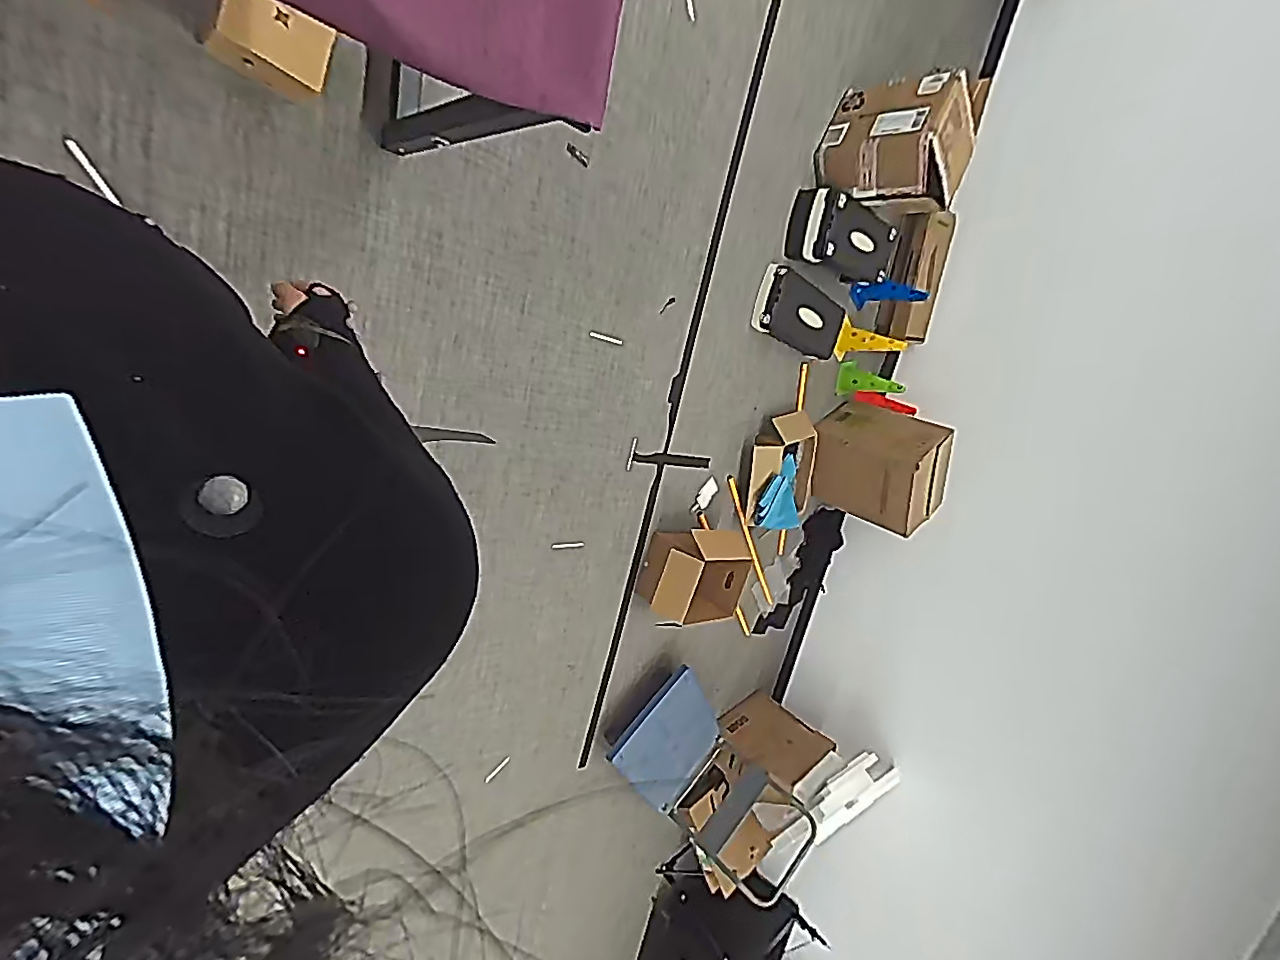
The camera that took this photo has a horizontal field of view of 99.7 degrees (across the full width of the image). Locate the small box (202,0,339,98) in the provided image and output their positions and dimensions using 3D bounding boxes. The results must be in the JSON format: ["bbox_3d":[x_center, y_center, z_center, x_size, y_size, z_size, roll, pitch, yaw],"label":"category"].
[{"bbox_3d":[-0.705,-0.868,1.025,0.168,0.176,0.179,13,98,-48],"label":"small box"}]
